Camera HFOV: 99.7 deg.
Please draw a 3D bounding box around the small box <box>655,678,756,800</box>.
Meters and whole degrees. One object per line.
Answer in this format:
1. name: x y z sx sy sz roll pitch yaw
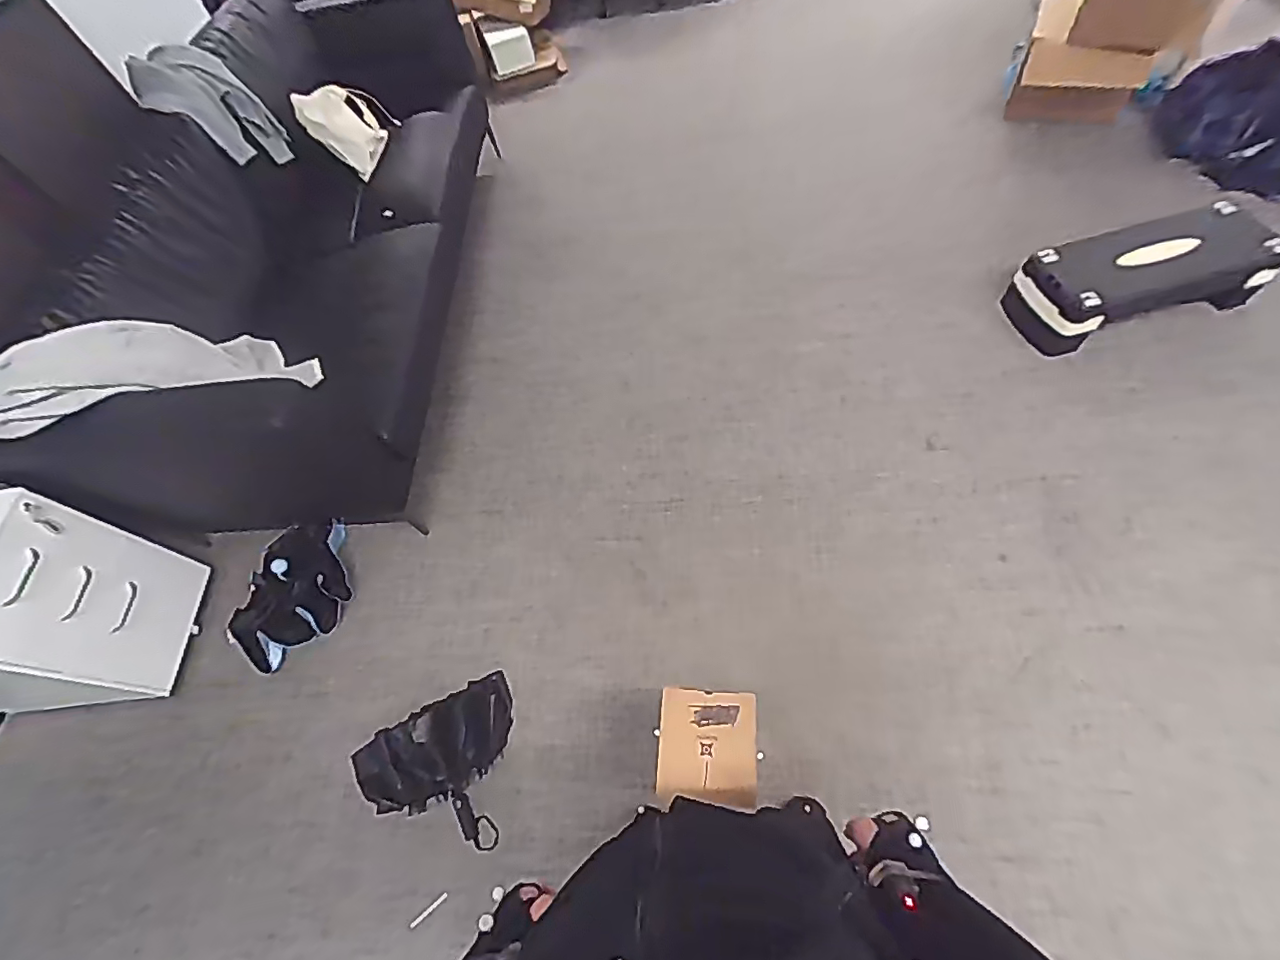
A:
1. small box: 0.123 0.475 0.993 0.168 0.176 0.179 1 62 9
